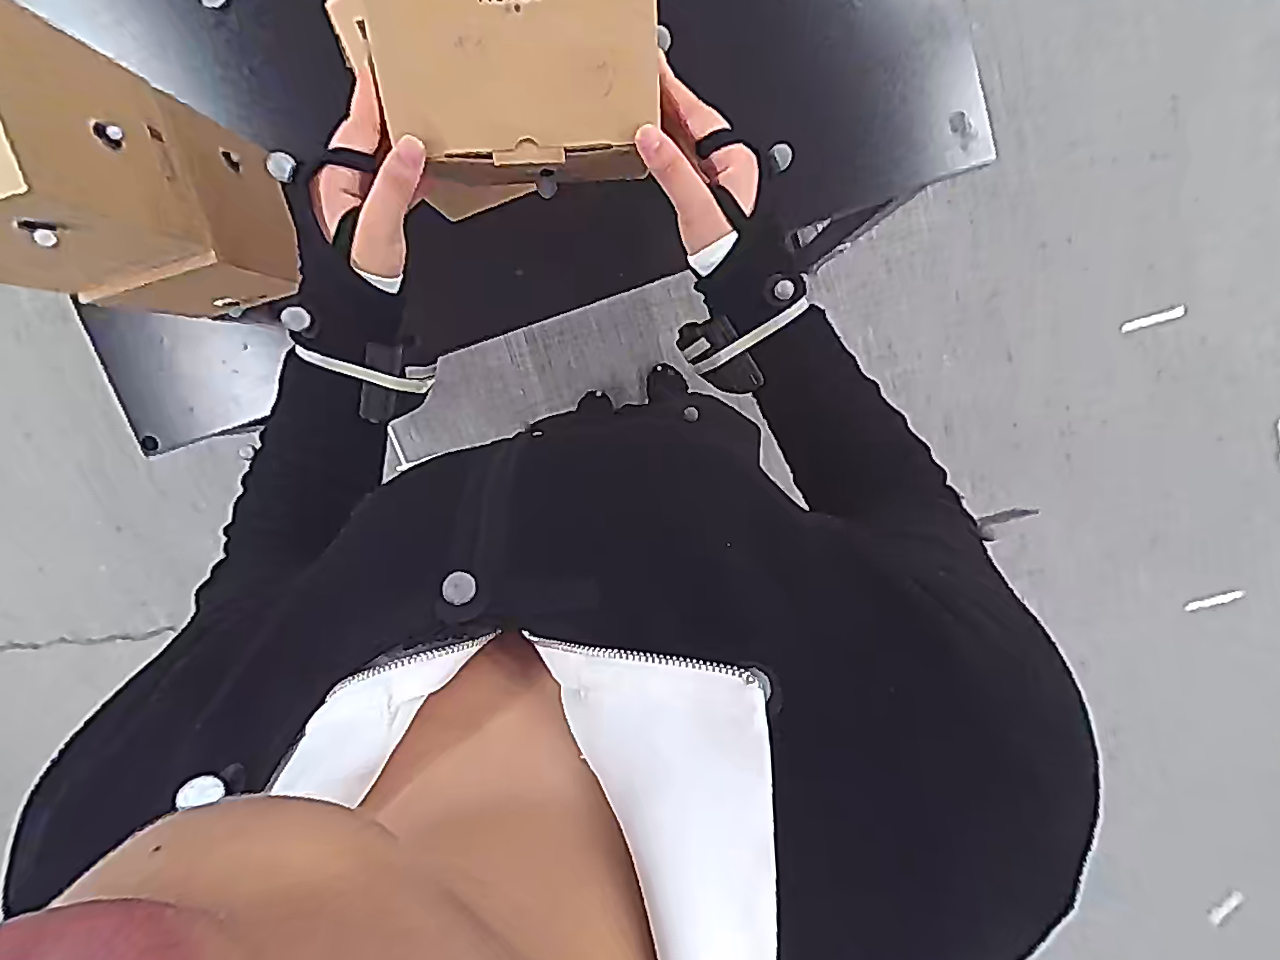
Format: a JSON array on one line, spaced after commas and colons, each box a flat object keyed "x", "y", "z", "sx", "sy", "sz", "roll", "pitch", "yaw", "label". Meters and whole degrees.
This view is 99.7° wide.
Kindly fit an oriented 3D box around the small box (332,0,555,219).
[{"x": -0.190, "y": -0.421, "z": 0.604, "sx": 0.179, "sy": 0.176, "sz": 0.168, "roll": -19, "pitch": 99, "yaw": 4, "label": "small box"}]

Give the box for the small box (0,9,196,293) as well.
[{"x": -0.546, "y": -0.279, "z": 0.476, "sx": 0.179, "sy": 0.176, "sz": 0.168, "roll": -14, "pitch": 98, "yaw": 5, "label": "small box"}]

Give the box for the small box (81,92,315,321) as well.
[{"x": -0.533, "y": -0.302, "z": 0.639, "sx": 0.168, "sy": 0.176, "sz": 0.179, "roll": -14, "pitch": 100, "yaw": 5, "label": "small box"}]

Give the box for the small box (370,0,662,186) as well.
[{"x": -0.070, "y": -0.305, "z": 0.372, "sx": 0.168, "sy": 0.176, "sz": 0.179, "roll": -3, "pitch": 115, "yaw": -1, "label": "small box"}]
